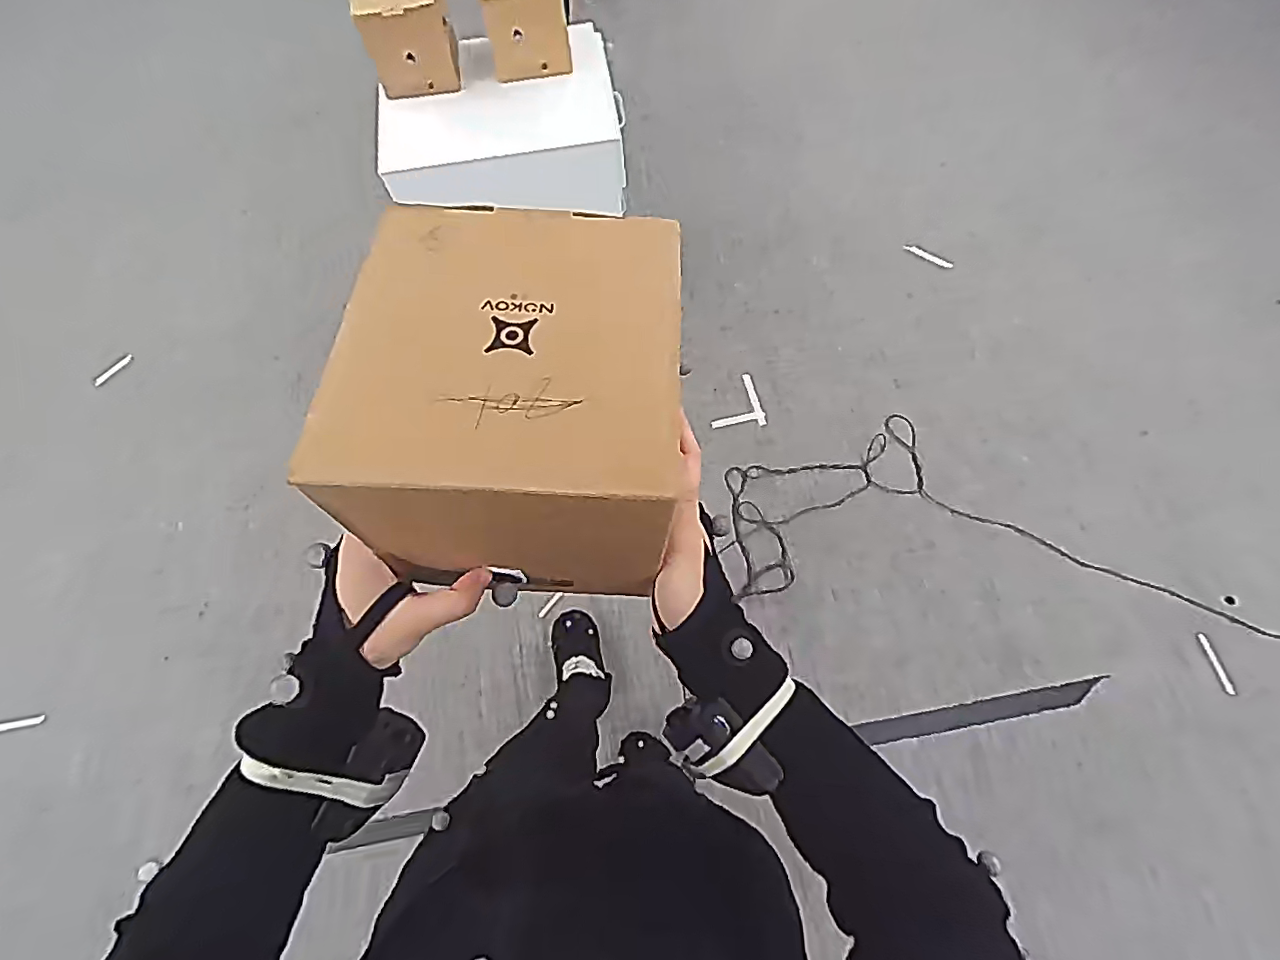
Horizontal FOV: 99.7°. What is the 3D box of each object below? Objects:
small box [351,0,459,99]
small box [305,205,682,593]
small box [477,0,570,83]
[{"bbox_3d":[-0.499,-0.957,1.166,0.168,0.176,0.179,-9,71,-3],"label":"small box"},{"bbox_3d":[-0.064,-0.039,0.341,0.168,0.176,0.179,2,64,-1],"label":"small box"},{"bbox_3d":[-0.252,-1.003,1.176,0.168,0.176,0.179,-9,70,-1],"label":"small box"}]
